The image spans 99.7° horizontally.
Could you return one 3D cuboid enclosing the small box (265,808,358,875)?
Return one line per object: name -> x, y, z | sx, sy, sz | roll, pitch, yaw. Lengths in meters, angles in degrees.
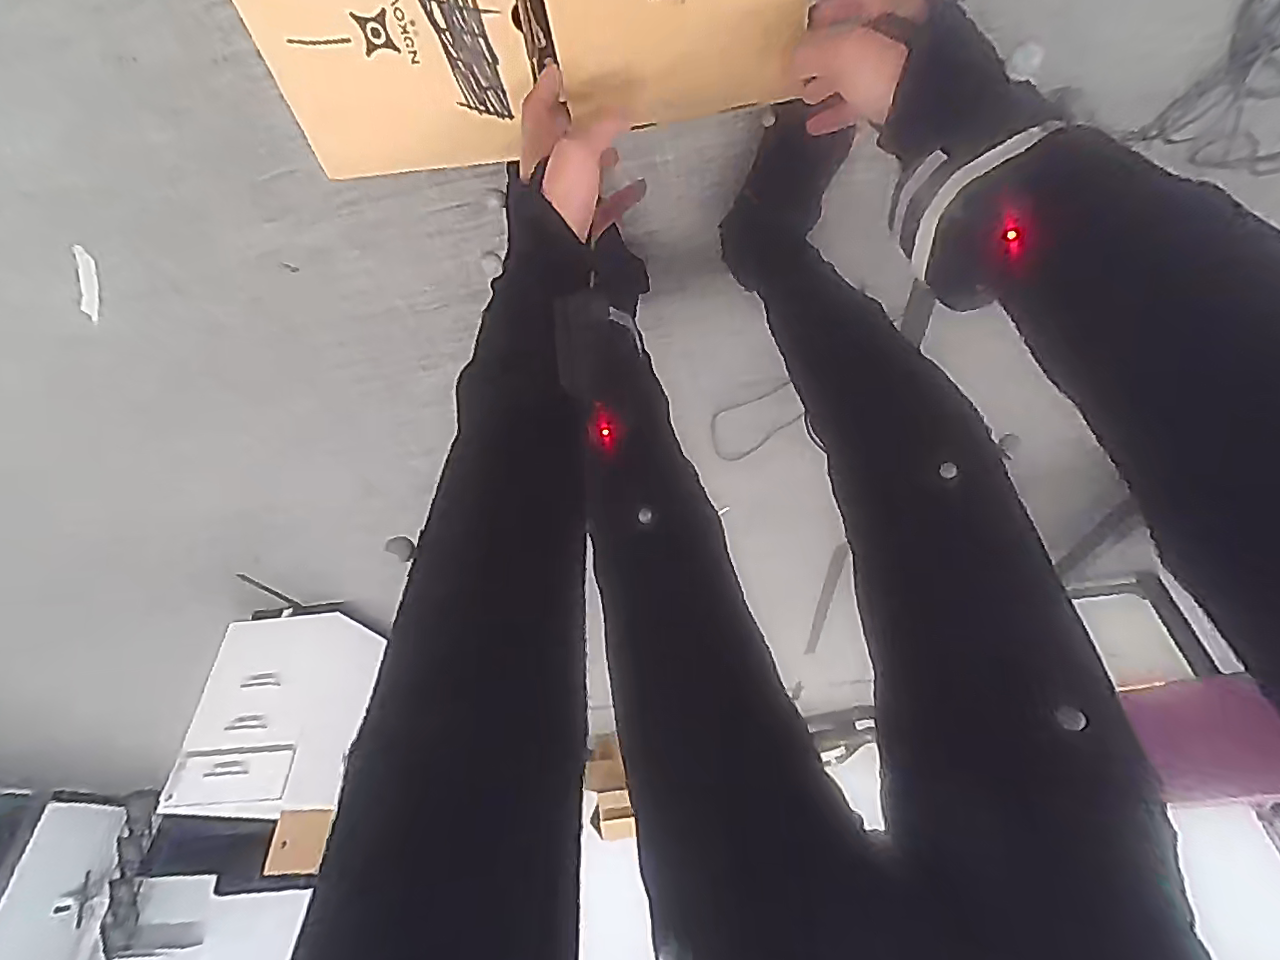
small box -> -1.050, 1.166, 1.742 | 0.179, 0.176, 0.168 | -6, 146, 5
